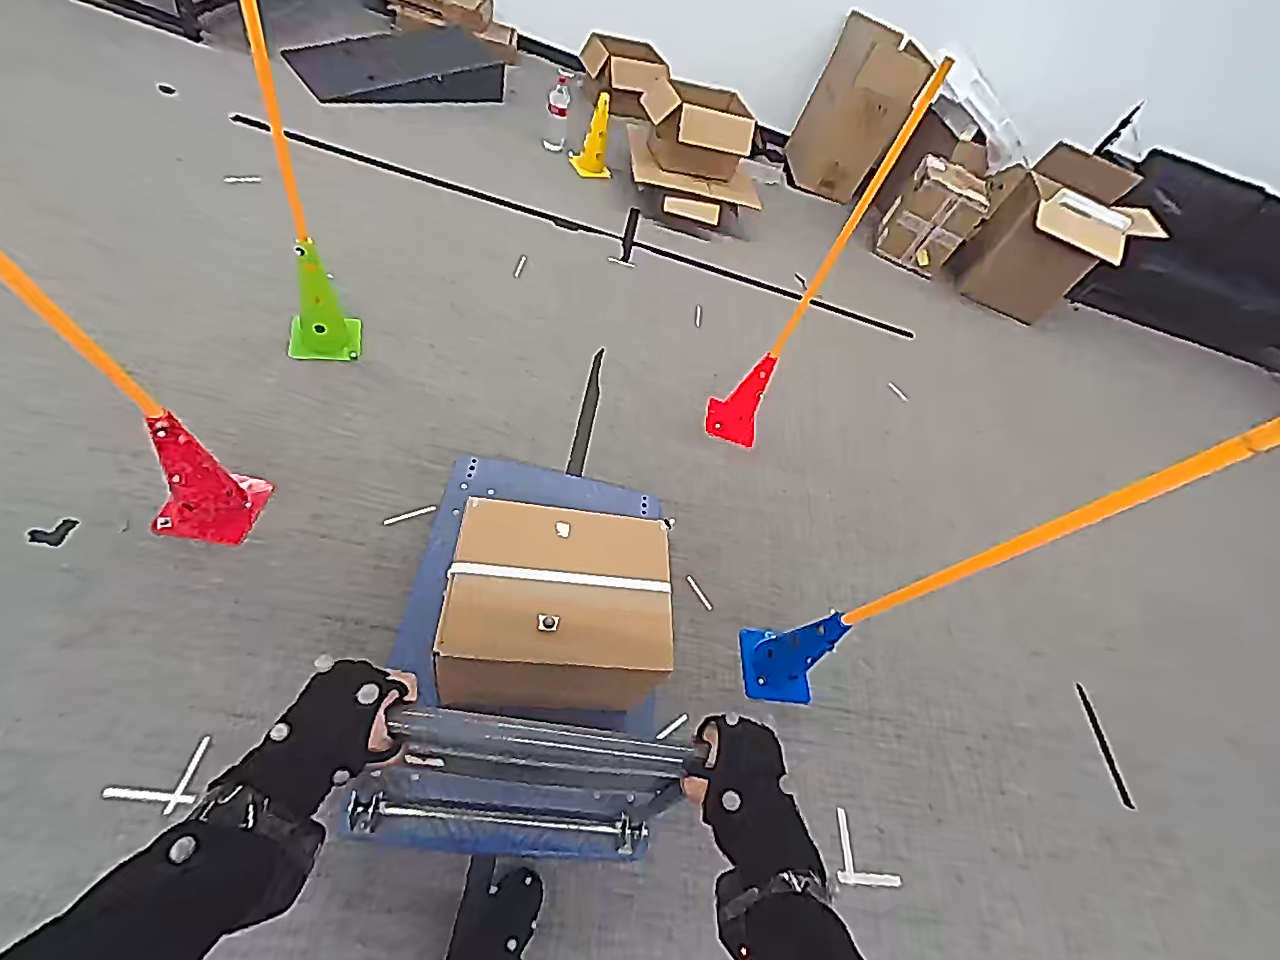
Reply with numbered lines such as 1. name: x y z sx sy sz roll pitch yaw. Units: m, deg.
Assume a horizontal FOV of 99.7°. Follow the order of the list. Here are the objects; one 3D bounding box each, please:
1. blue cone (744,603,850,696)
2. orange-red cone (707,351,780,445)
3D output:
1. blue cone: 0.442 0.428 1.439 0.193 0.380 0.192 11 52 -12
2. orange-red cone: 0.409 -0.324 1.953 0.199 0.360 0.198 20 52 -6
